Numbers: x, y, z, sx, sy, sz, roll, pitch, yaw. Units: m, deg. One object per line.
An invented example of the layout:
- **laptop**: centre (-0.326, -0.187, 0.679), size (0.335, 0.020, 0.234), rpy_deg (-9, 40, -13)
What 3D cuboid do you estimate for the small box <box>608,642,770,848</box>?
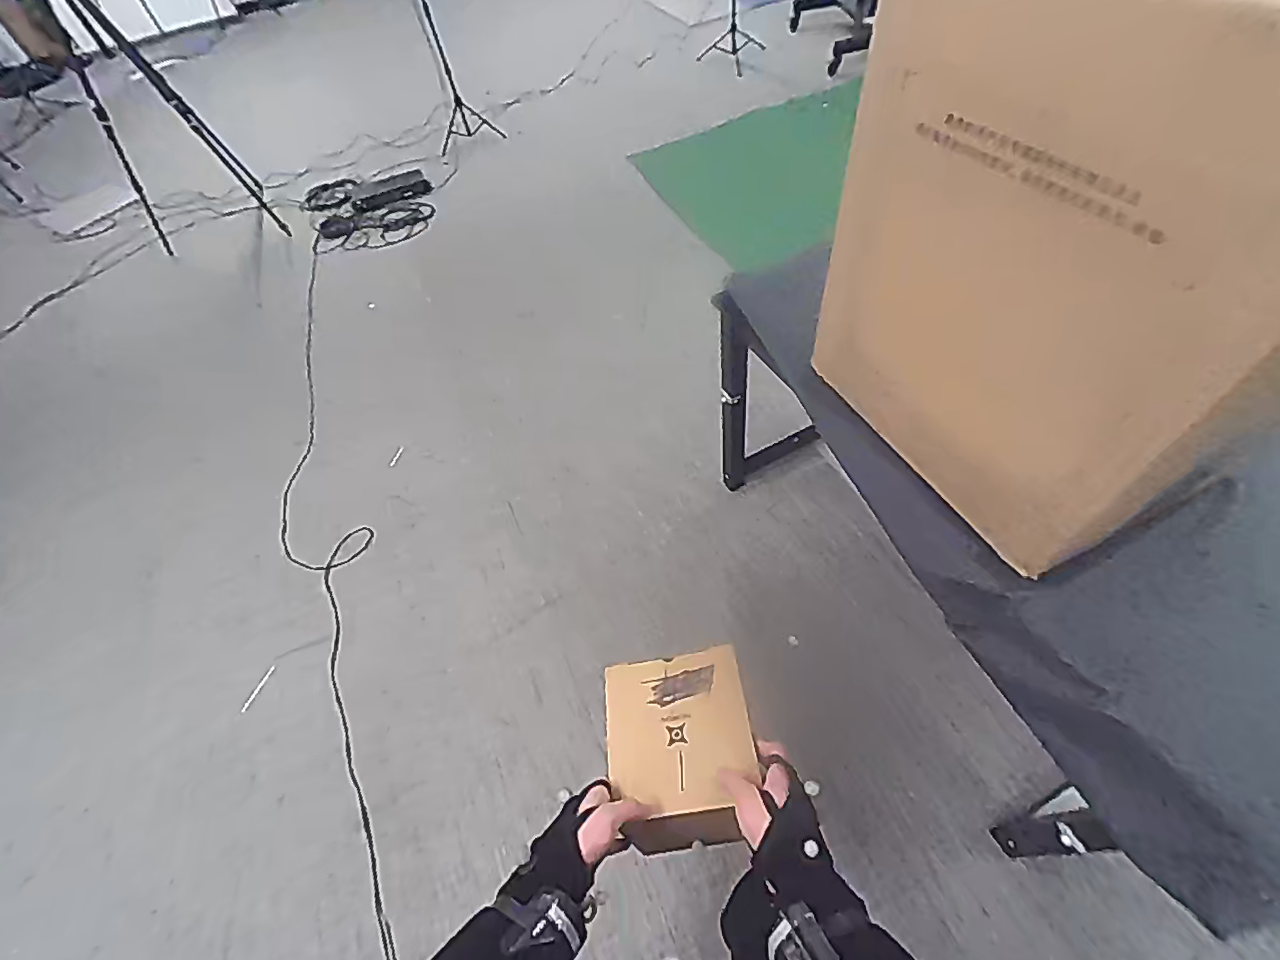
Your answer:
- **small box**: centre (0.061, 0.333, 0.676), size (0.168, 0.176, 0.179), rpy_deg (-12, 45, 5)
